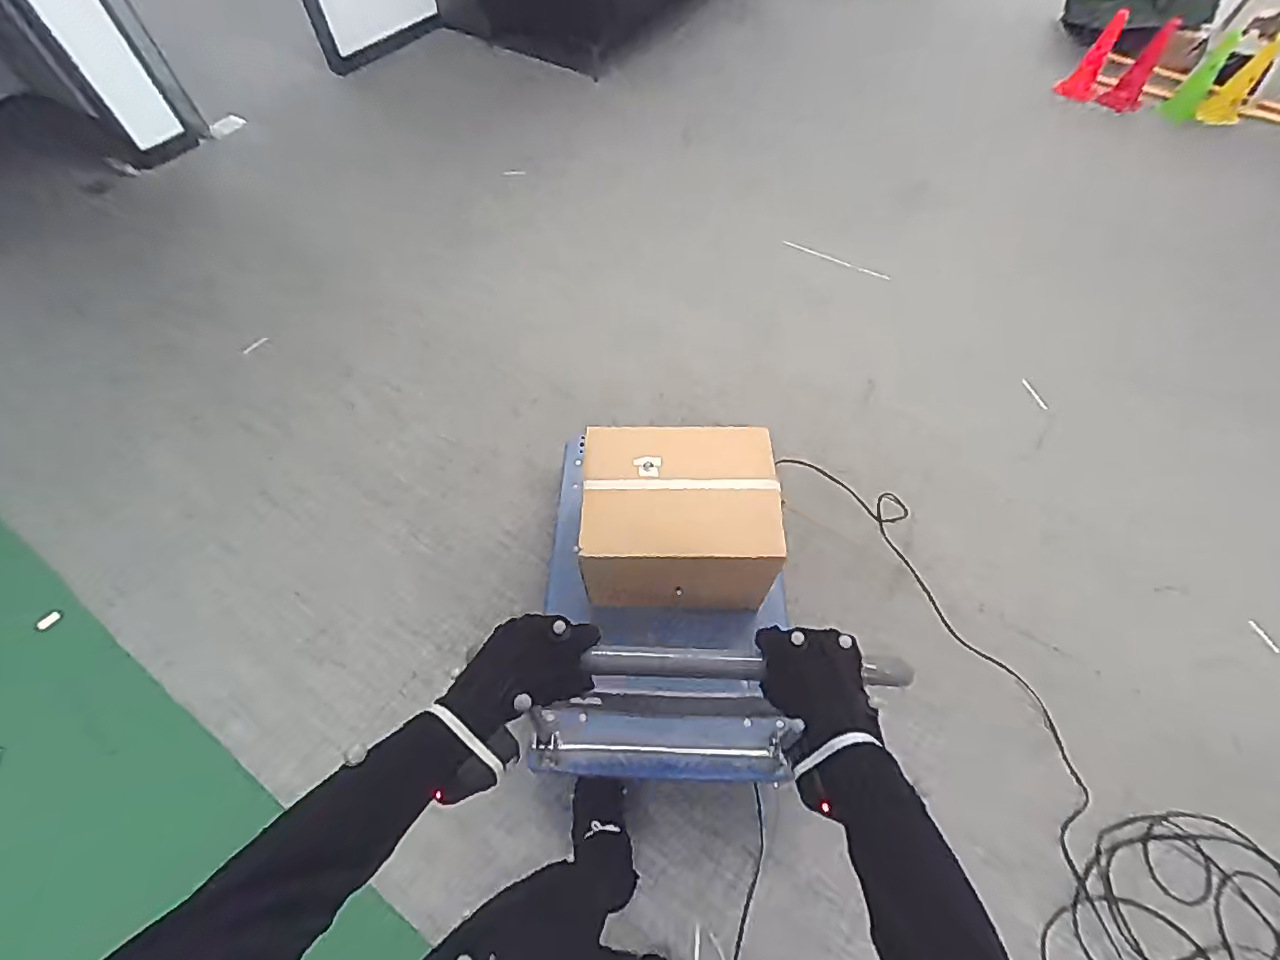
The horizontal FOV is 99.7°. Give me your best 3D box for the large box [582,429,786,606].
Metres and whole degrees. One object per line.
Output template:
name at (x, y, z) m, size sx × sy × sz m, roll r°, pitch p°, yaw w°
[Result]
large box at (0.088, 0.098, 1.251) m, size 0.408 × 0.320 × 0.320 m, roll 0°, pitch 58°, yaw 1°
